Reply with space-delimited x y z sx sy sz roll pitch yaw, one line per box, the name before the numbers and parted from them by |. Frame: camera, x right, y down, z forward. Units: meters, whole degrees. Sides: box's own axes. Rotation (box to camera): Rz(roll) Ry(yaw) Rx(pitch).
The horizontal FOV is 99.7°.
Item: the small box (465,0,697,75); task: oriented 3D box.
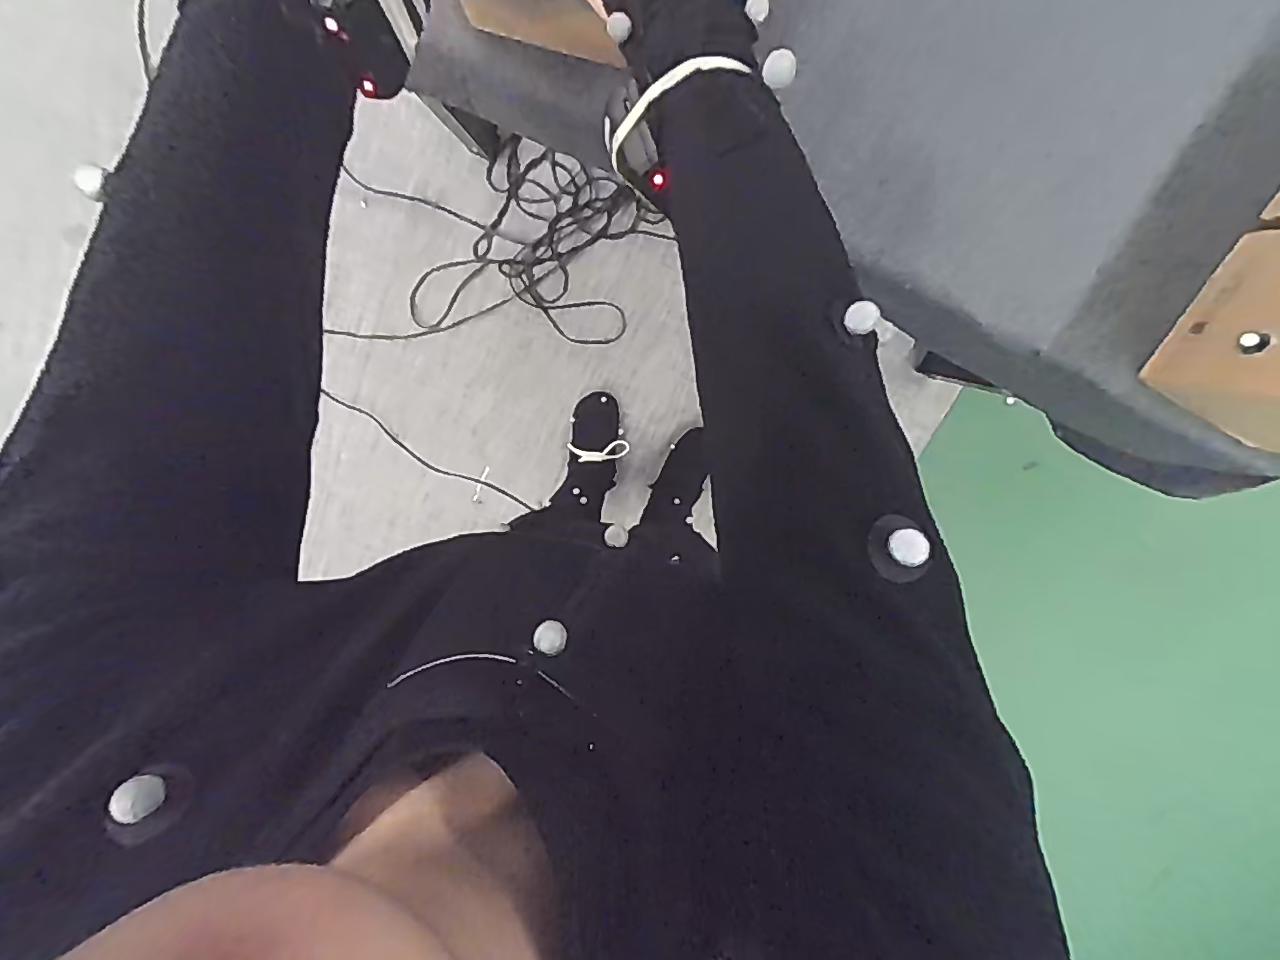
small box | -0.034 -0.418 0.372 0.179 0.176 0.168 11 107 -7
